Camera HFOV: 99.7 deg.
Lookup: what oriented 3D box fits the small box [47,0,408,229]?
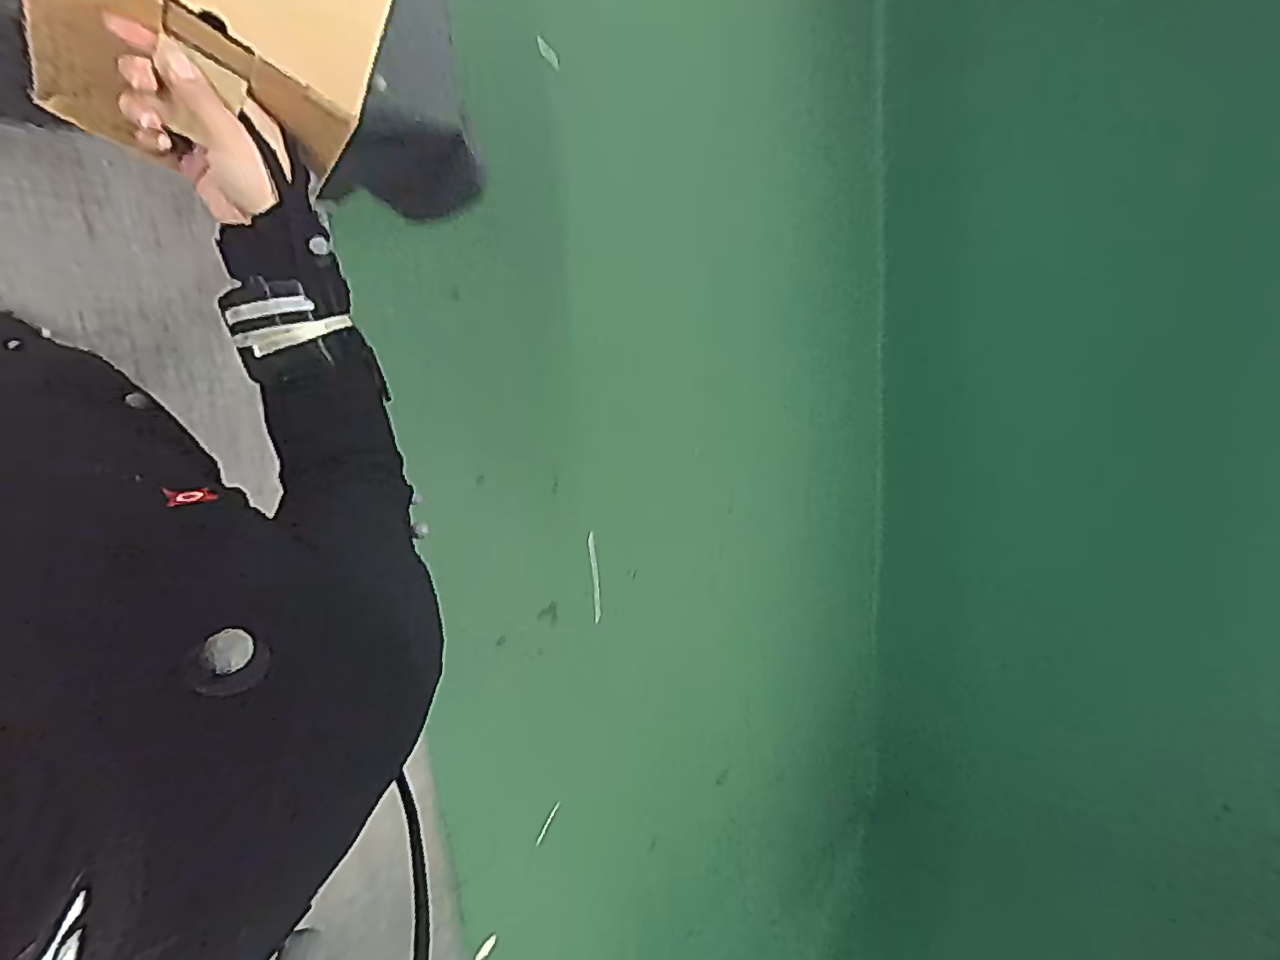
[{"bbox_3d":[-0.298,-0.334,0.402,0.168,0.176,0.179,21,67,-42],"label":"small box"}]
